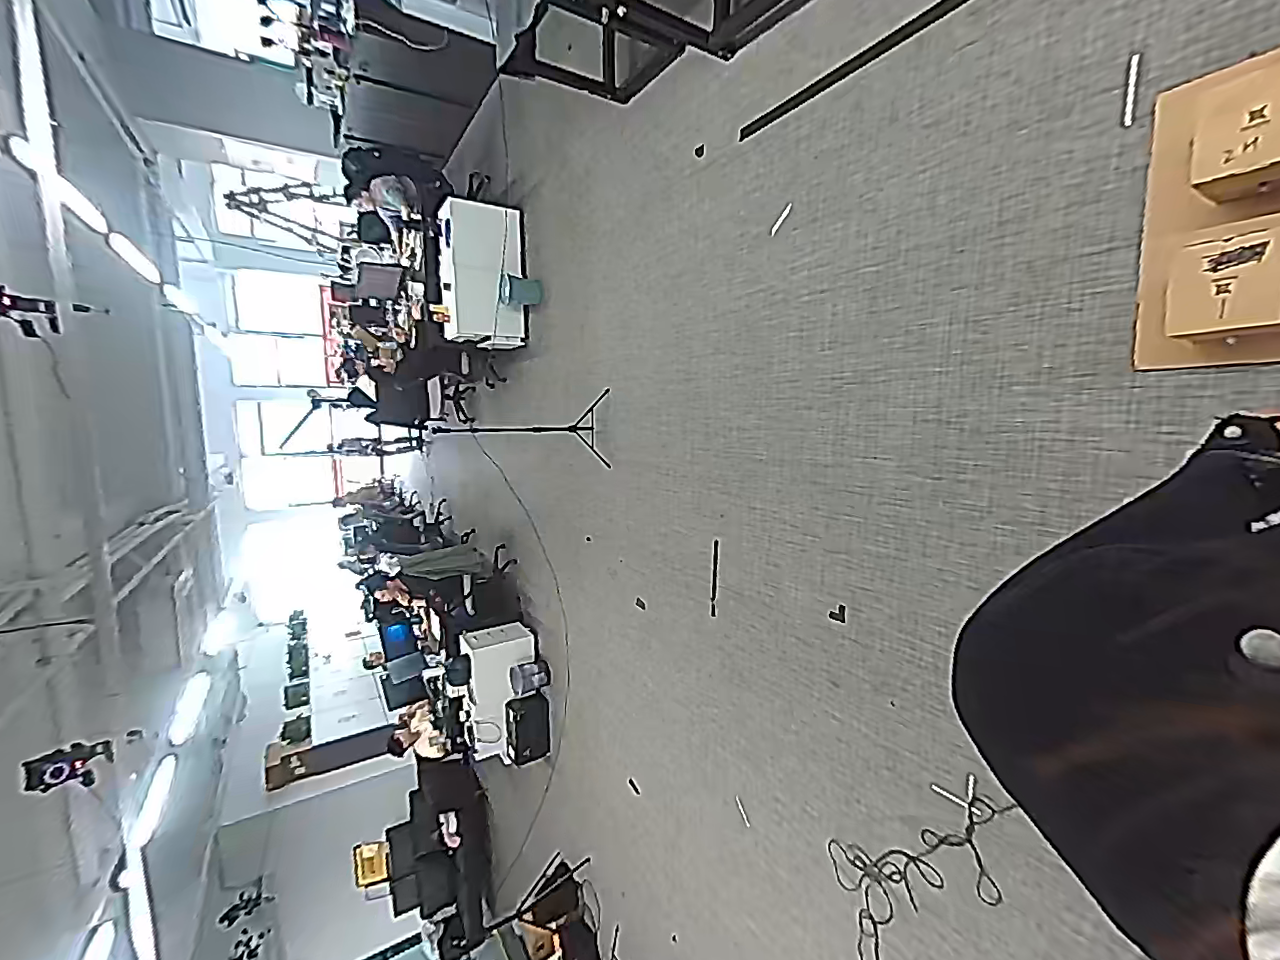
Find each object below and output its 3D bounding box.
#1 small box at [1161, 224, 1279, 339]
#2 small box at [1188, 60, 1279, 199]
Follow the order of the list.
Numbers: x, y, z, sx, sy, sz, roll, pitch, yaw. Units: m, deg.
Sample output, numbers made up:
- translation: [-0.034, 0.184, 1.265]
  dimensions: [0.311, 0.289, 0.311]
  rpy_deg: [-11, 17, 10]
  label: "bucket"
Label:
- translation: [1.178, -0.382, 1.073]
  dimensions: [0.168, 0.176, 0.179]
  rpy_deg: [8, 102, 58]
  label: "small box"
- translation: [1.184, -0.663, 1.023]
  dimensions: [0.168, 0.176, 0.179]
  rpy_deg: [9, 102, 58]
  label: "small box"
